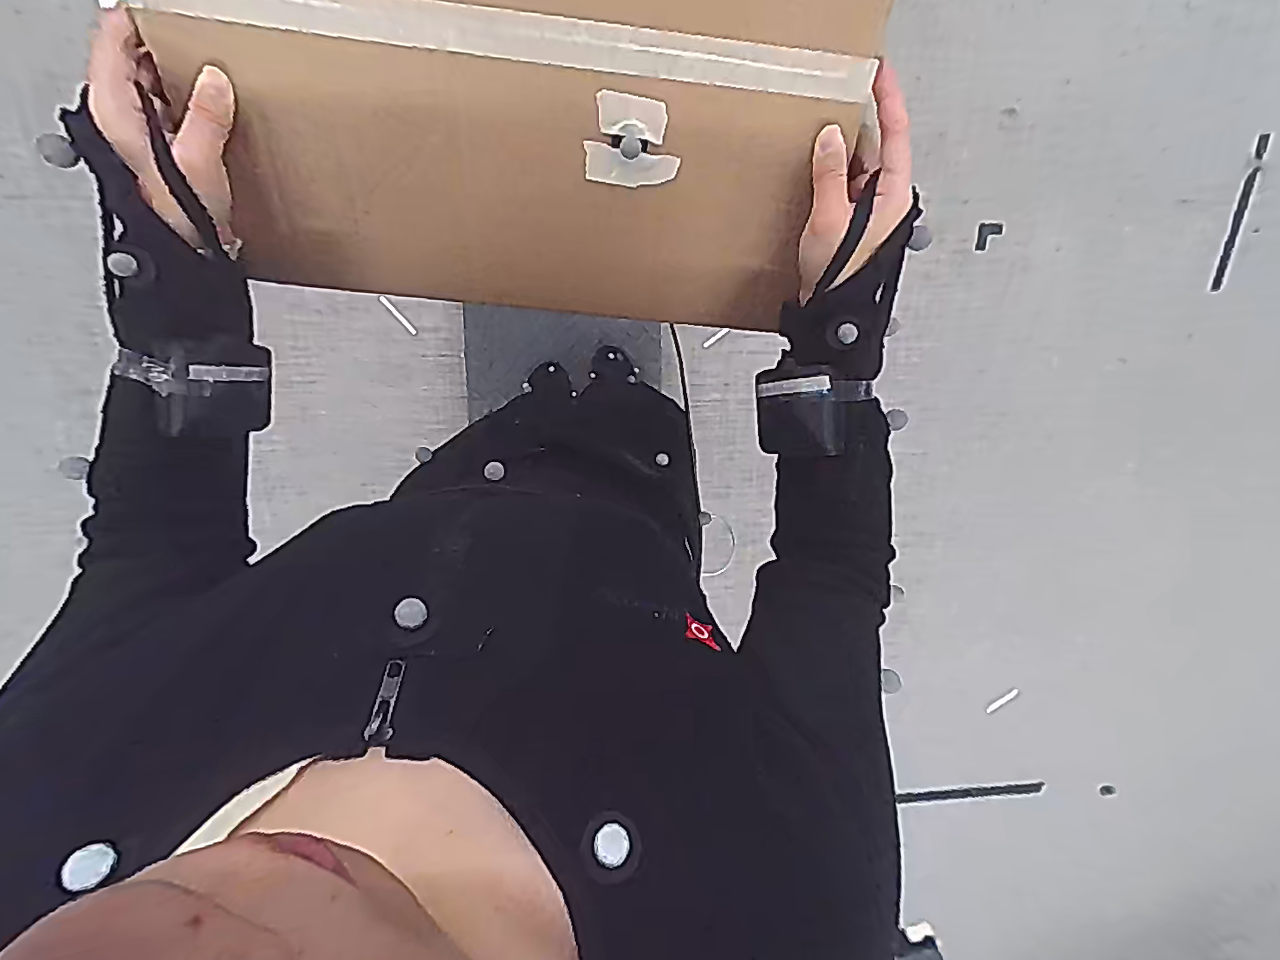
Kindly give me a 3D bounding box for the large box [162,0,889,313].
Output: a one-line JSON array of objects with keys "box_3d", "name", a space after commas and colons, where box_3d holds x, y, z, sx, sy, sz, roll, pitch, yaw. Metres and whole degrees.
[{"box_3d": [-0.066, -0.350, 0.420, 0.408, 0.320, 0.320, 4, 130, -5], "name": "large box"}]
